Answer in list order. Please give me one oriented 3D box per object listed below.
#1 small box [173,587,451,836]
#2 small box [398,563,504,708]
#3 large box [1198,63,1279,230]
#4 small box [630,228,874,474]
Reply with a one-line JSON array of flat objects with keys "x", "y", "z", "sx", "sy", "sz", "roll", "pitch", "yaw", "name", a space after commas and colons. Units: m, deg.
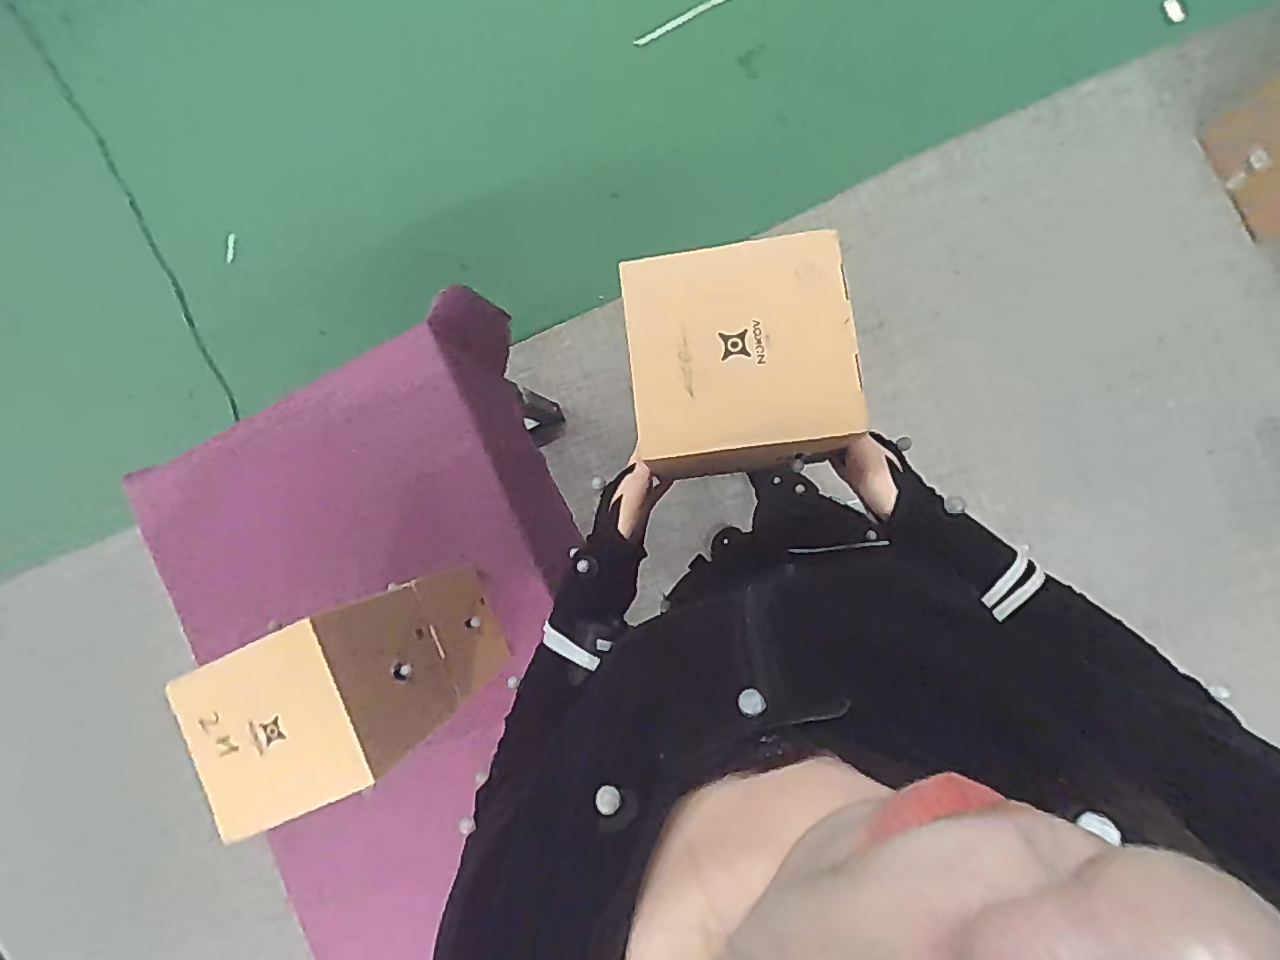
[{"x": -0.334, "y": 0.233, "z": 0.590, "sx": 0.179, "sy": 0.176, "sz": 0.168, "roll": -25, "pitch": 86, "yaw": 8, "name": "small box"}, {"x": -0.311, "y": 0.228, "z": 0.754, "sx": 0.179, "sy": 0.176, "sz": 0.168, "roll": -25, "pitch": 86, "yaw": 7, "name": "small box"}, {"x": 1.582, "y": -0.820, "z": 1.149, "sx": 0.408, "sy": 0.320, "sz": 0.320, "roll": -24, "pitch": 86, "yaw": 6, "name": "large box"}, {"x": 0.092, "y": -0.101, "z": 0.500, "sx": 0.179, "sy": 0.176, "sz": 0.168, "roll": -7, "pitch": 84, "yaw": 7, "name": "small box"}]
